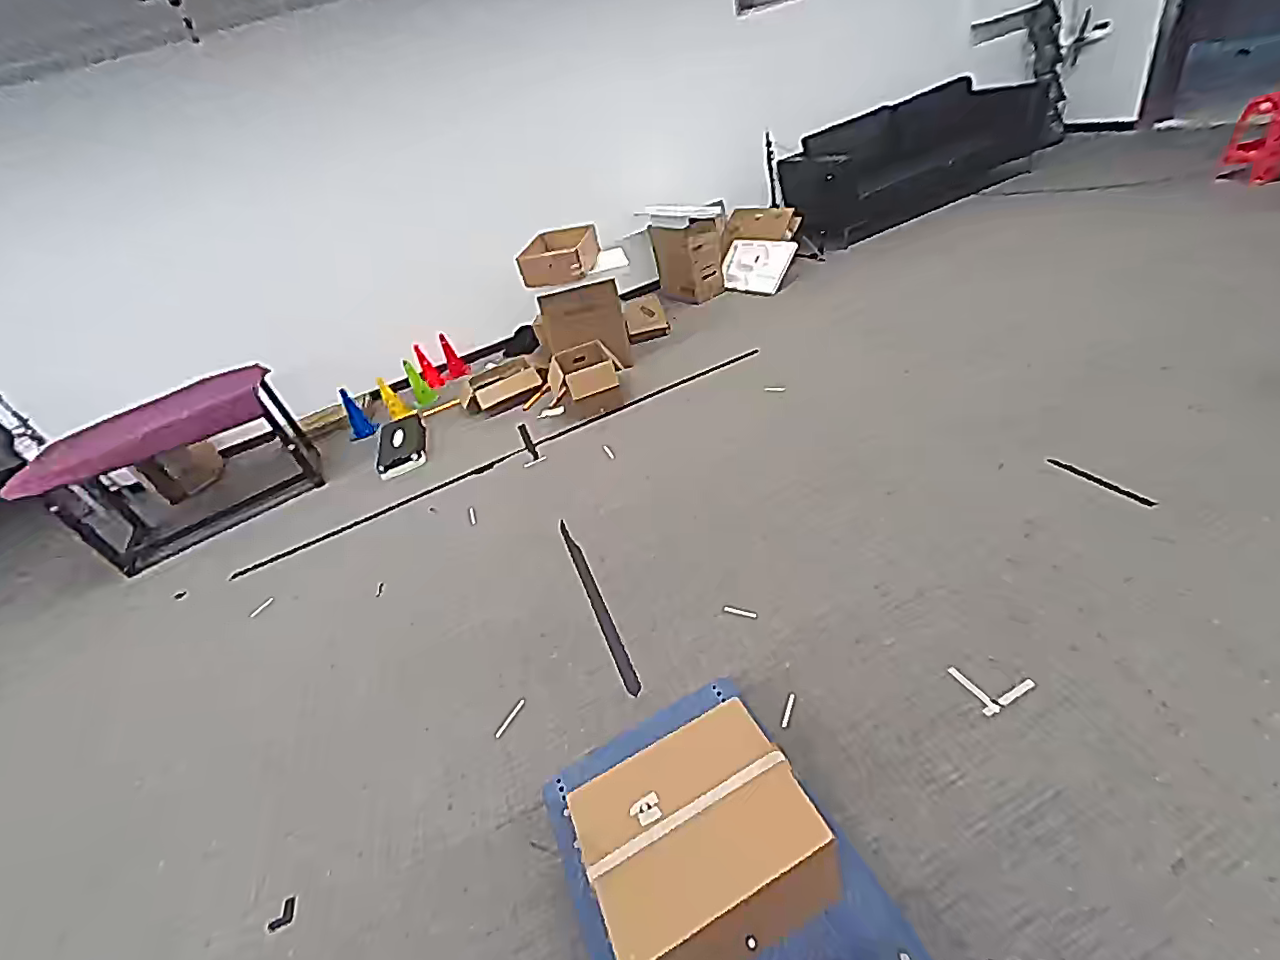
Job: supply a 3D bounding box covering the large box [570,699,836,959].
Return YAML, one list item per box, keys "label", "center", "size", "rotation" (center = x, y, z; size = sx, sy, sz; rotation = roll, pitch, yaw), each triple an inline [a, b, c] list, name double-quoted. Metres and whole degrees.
- label: "large box"
  center: [0.131, 0.738, 1.091]
  size: [0.408, 0.320, 0.320]
  rotation: [-27, 35, -11]
